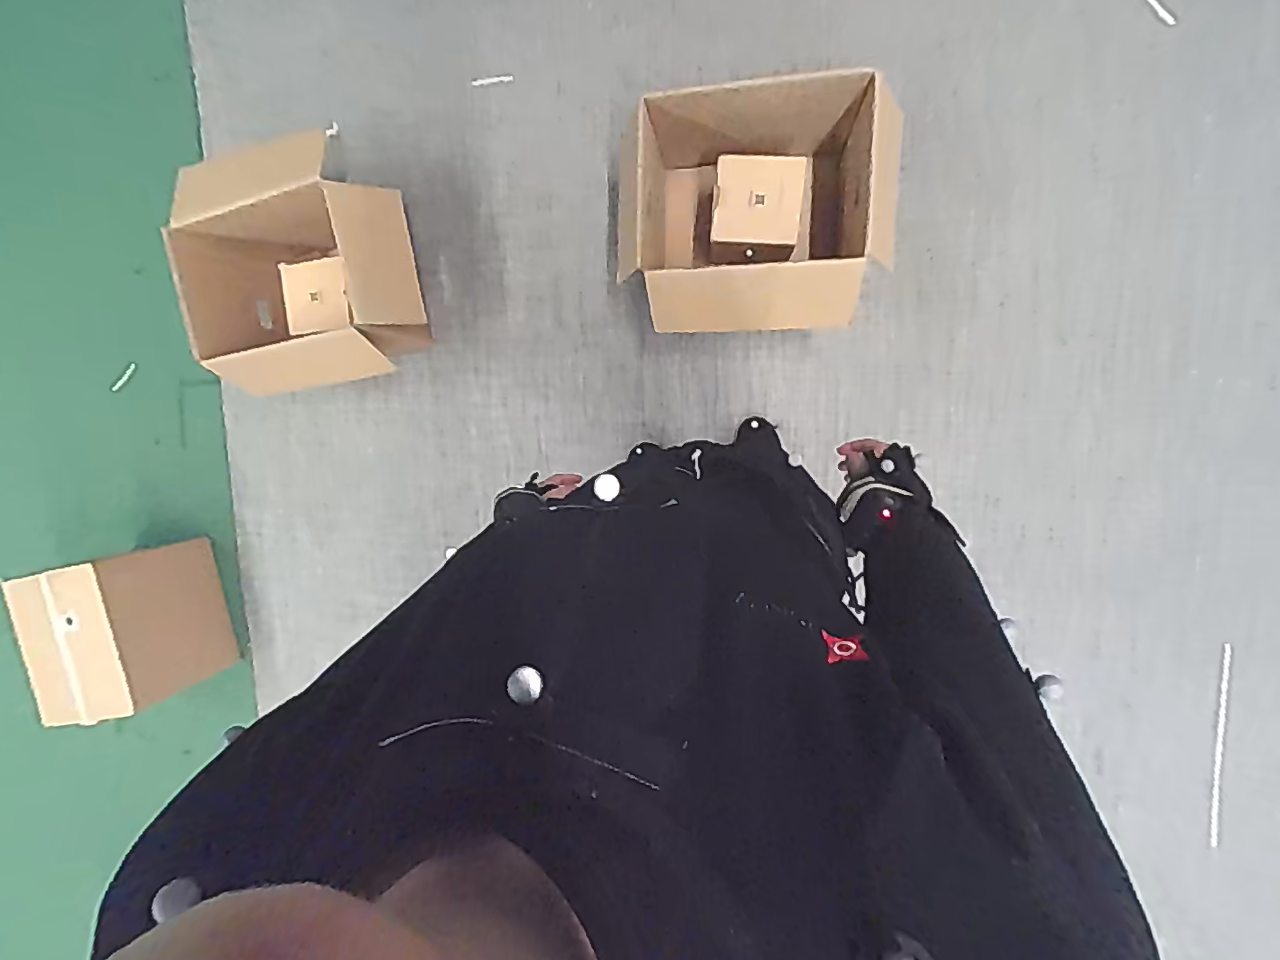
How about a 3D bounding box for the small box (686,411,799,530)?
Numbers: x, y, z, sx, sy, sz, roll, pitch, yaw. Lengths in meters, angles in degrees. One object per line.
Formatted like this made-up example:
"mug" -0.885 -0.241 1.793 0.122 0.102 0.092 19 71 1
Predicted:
"small box" 0.230 -0.014 1.208 0.179 0.168 0.176 33 129 -8
